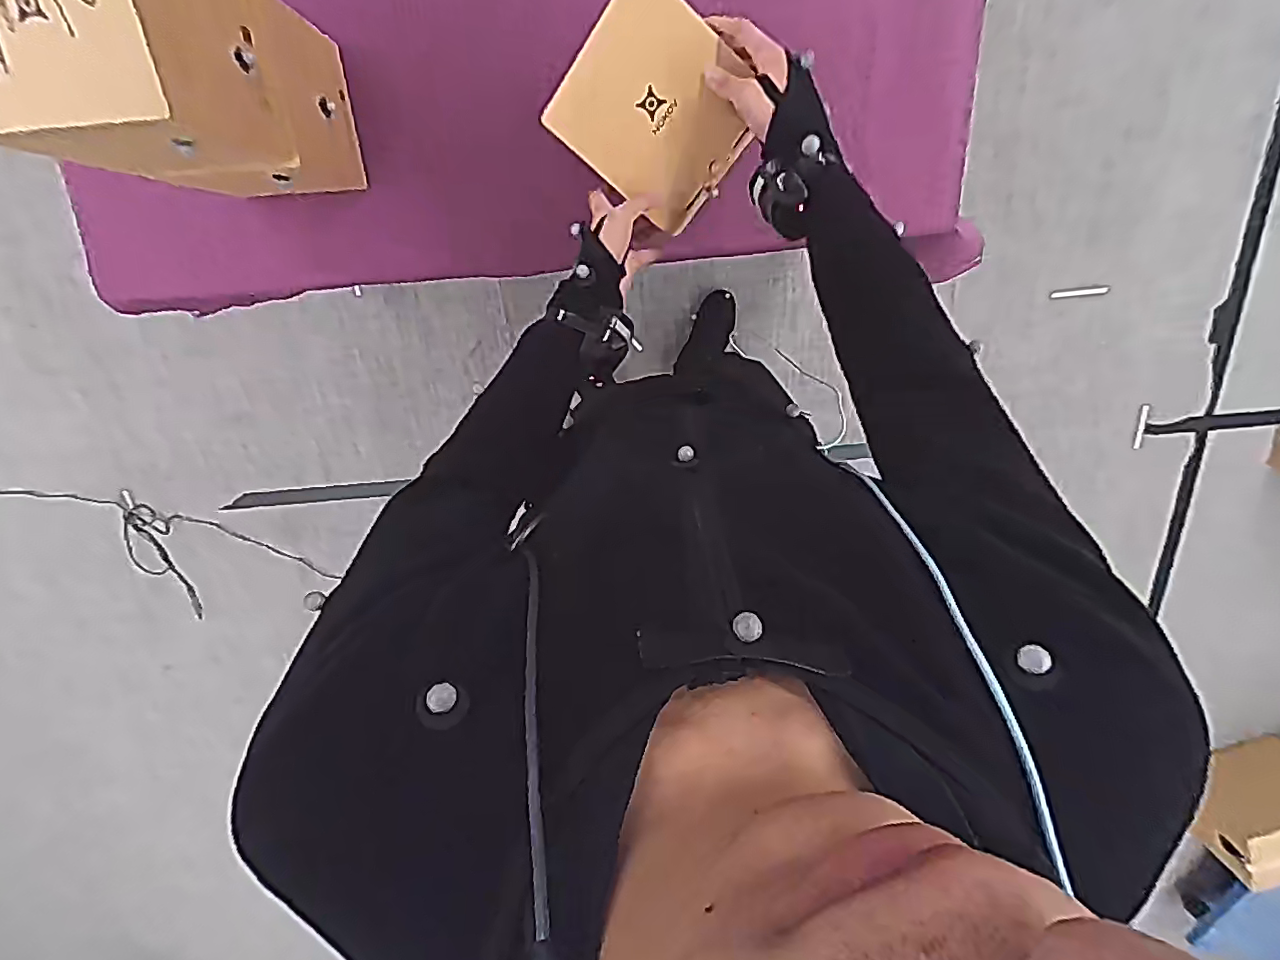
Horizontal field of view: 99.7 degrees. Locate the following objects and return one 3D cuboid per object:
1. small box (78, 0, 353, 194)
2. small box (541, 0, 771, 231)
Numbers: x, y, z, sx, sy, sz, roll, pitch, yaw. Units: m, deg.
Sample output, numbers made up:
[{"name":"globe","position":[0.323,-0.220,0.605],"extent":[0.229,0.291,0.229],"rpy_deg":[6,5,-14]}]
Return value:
[{"name":"small box","position":[-0.462,-0.438,0.629],"extent":[0.179,0.176,0.168],"rpy_deg":[-3,111,0]},{"name":"small box","position":[0.021,-0.404,0.611],"extent":[0.179,0.176,0.168],"rpy_deg":[35,115,-9]}]
